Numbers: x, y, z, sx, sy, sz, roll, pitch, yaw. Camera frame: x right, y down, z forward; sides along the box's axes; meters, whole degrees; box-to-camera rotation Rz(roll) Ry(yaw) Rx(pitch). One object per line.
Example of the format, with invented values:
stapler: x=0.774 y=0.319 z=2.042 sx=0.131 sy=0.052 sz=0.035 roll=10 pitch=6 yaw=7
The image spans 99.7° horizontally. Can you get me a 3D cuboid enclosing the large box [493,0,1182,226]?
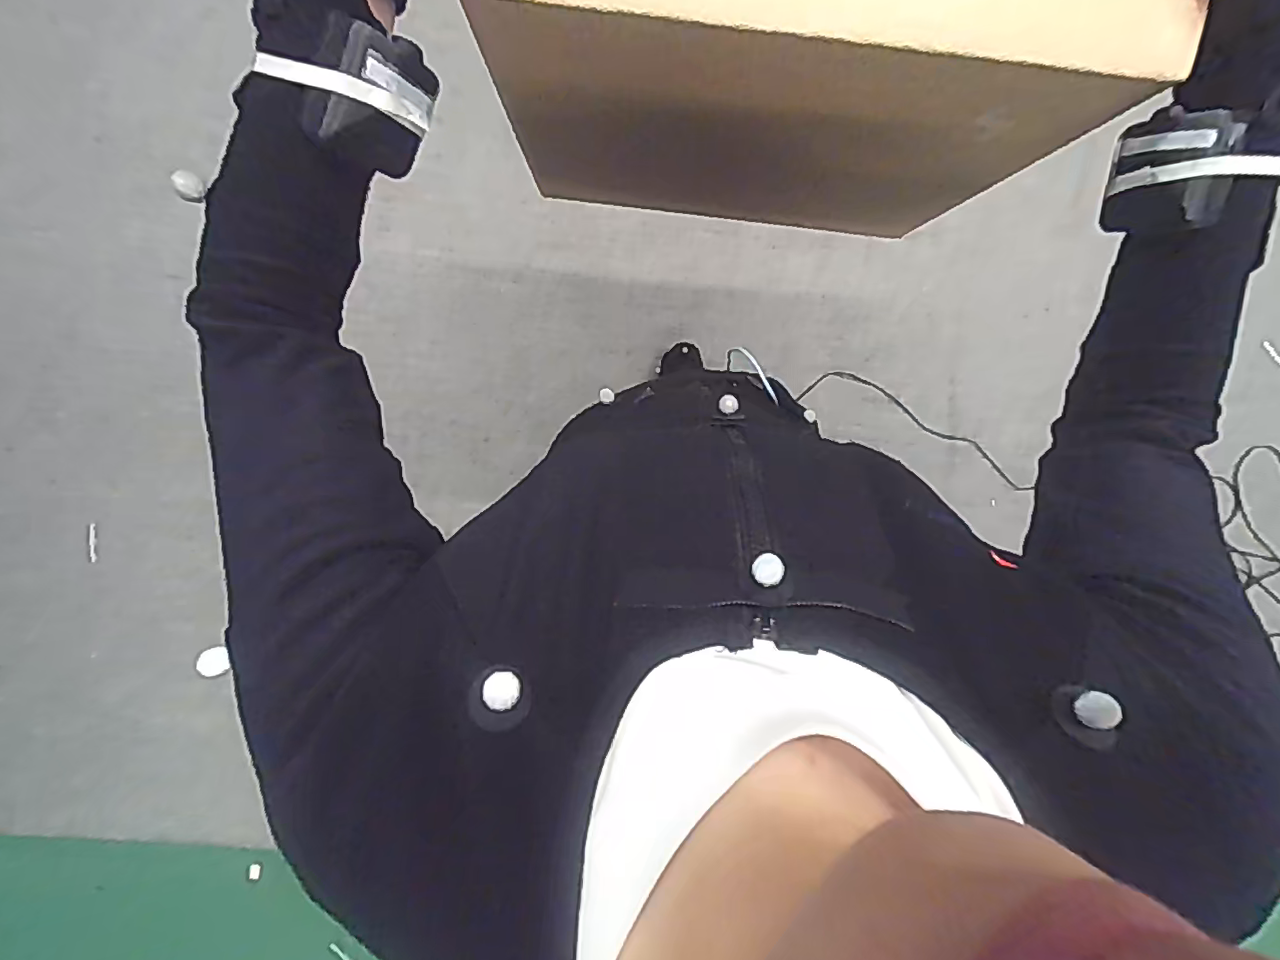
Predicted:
large box: x=0.113 y=-0.422 z=0.428 sx=0.408 sy=0.320 sz=0.320 roll=4 pitch=99 yaw=-4
